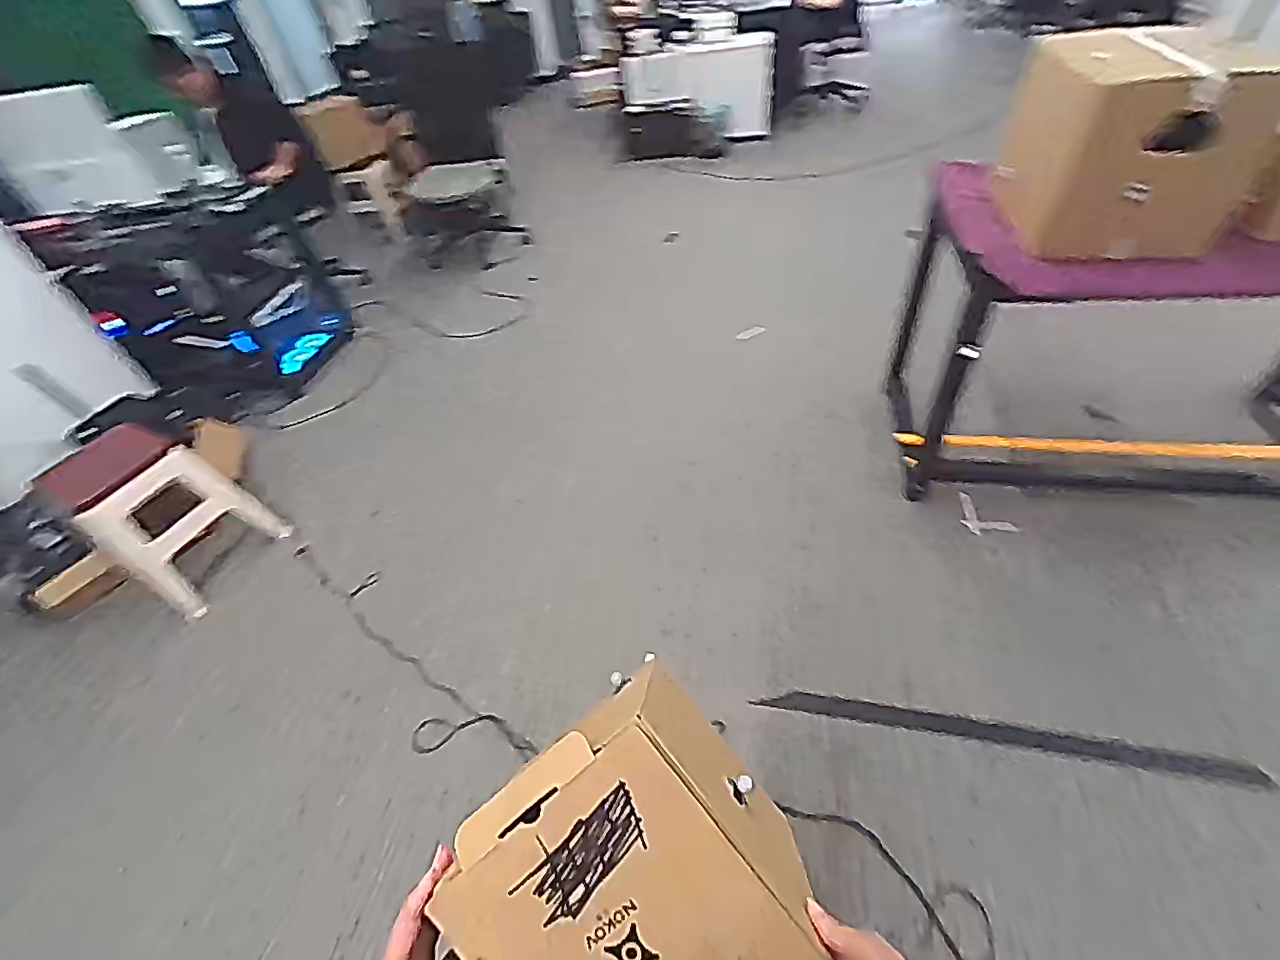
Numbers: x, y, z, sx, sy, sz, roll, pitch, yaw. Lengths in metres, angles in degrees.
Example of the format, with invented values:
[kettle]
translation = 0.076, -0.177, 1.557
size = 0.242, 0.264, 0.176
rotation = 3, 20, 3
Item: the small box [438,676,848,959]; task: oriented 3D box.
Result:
[small box]
translation = 0.006, 0.259, 0.374
size = 0.168, 0.176, 0.179
rotation = -40, 82, 1
